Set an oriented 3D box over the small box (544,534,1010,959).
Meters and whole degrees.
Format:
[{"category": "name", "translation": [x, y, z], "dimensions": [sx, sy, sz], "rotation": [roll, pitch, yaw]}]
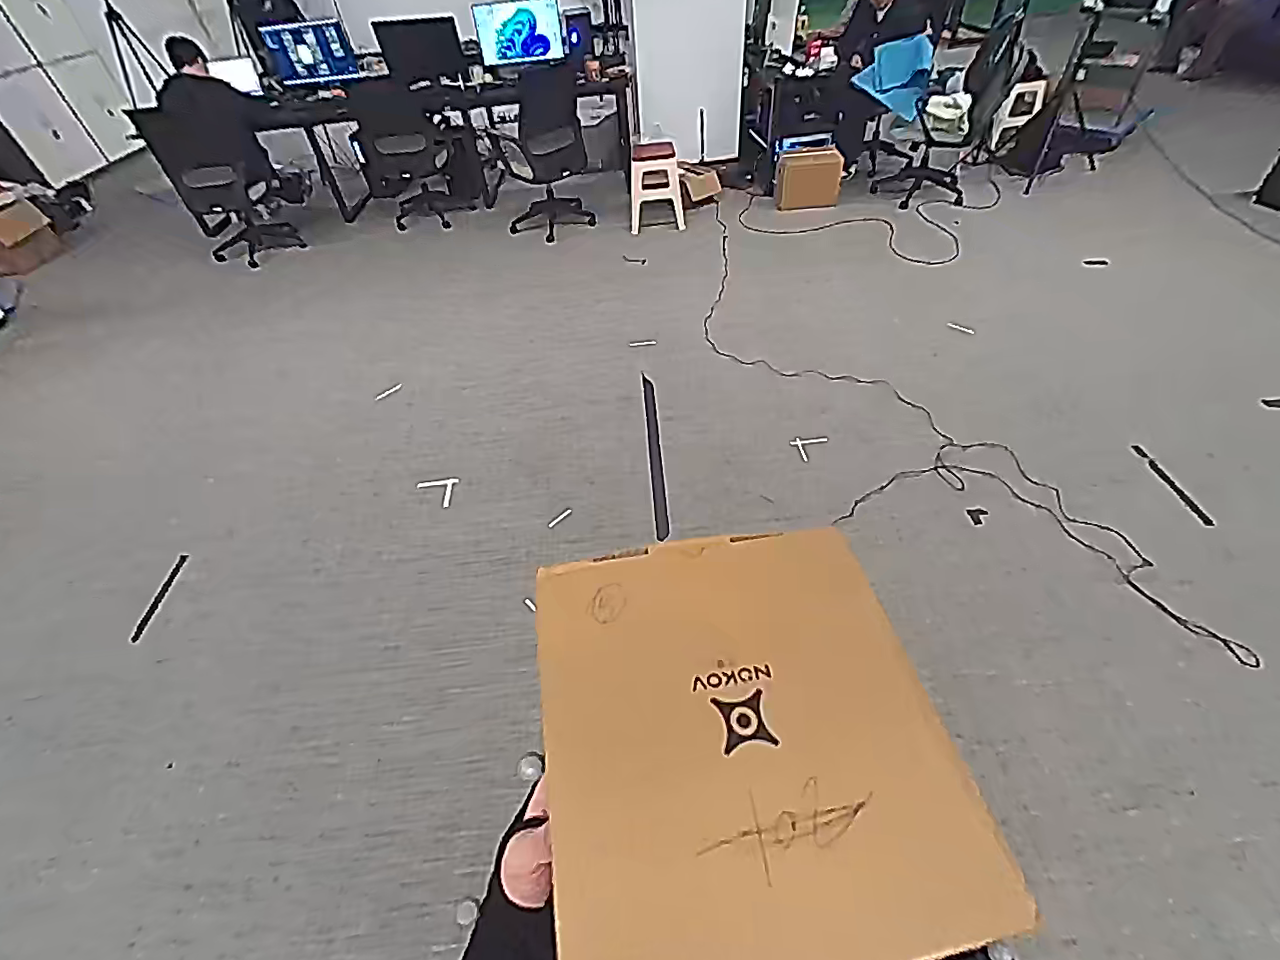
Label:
[{"category": "small box", "translation": [0.039, 0.156, 0.302], "dimensions": [0.168, 0.176, 0.179], "rotation": [-7, 50, -9]}]
